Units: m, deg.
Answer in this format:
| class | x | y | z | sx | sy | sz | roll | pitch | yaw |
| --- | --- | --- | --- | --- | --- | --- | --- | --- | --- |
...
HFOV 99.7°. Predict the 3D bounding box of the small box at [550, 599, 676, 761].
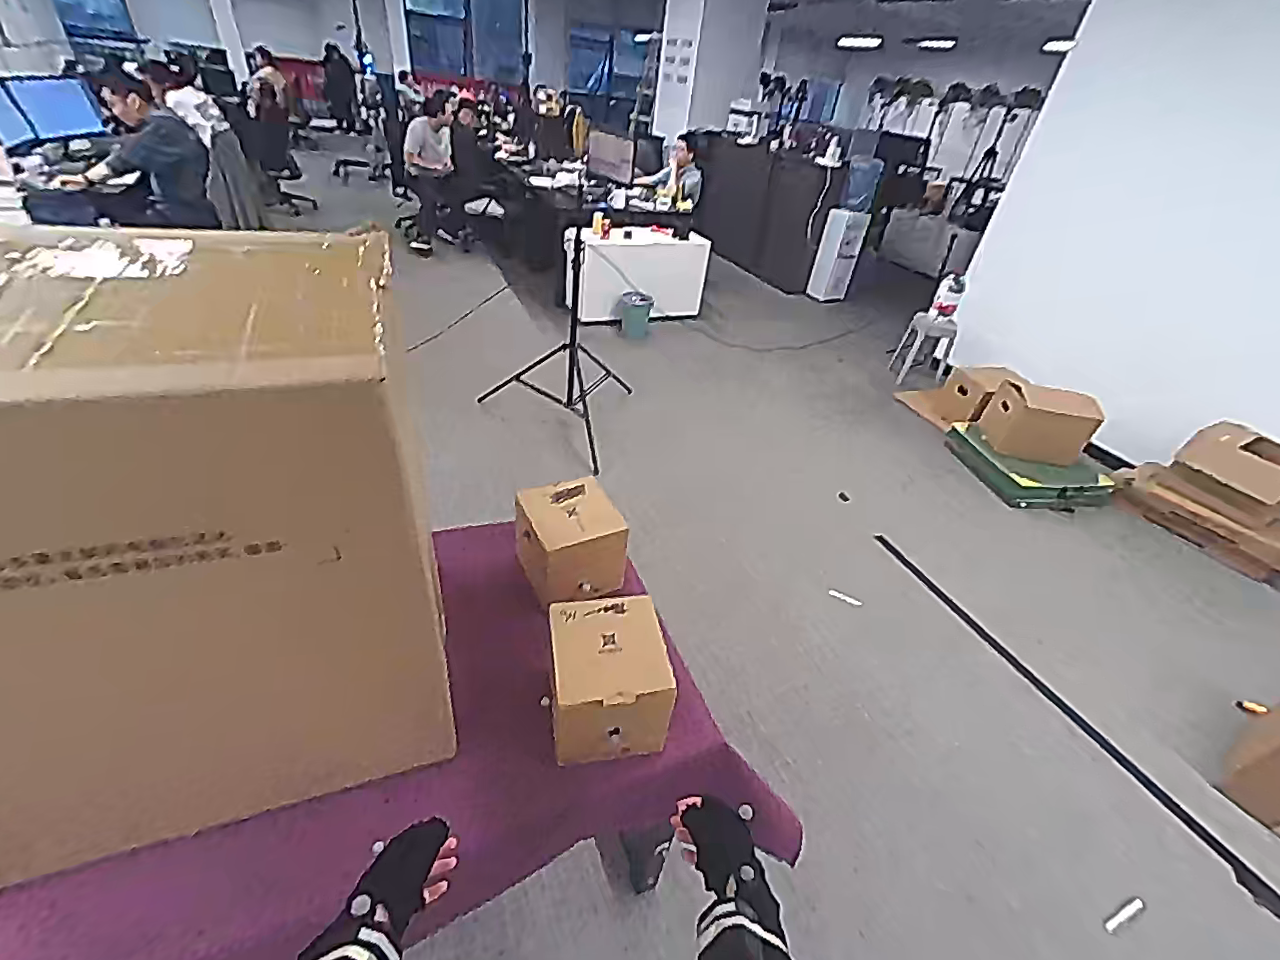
| class | x | y | z | sx | sy | sz | roll | pitch | yaw |
| --- | --- | --- | --- | --- | --- | --- | --- | --- | --- |
| small box | -0.051 | 0.311 | 0.838 | 0.168 | 0.176 | 0.179 | -2 | 37 | -13 |
